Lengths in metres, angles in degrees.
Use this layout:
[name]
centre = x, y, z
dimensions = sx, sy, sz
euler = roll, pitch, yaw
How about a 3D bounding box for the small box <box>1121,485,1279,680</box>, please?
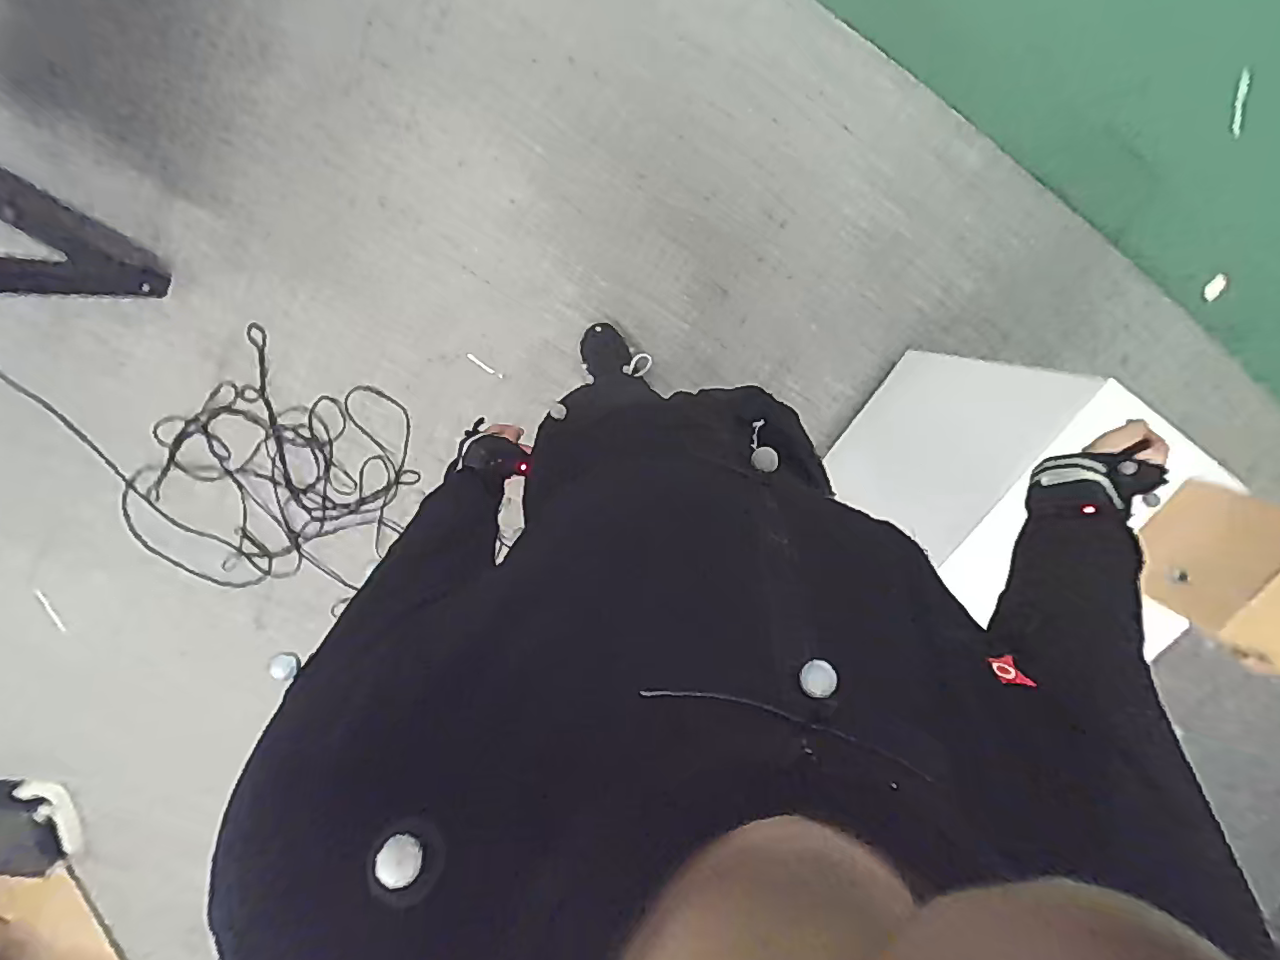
[small box]
centre = 0.800, 0.134, 0.711
dimensions = 0.168, 0.176, 0.179
euler = 28, 104, -9
